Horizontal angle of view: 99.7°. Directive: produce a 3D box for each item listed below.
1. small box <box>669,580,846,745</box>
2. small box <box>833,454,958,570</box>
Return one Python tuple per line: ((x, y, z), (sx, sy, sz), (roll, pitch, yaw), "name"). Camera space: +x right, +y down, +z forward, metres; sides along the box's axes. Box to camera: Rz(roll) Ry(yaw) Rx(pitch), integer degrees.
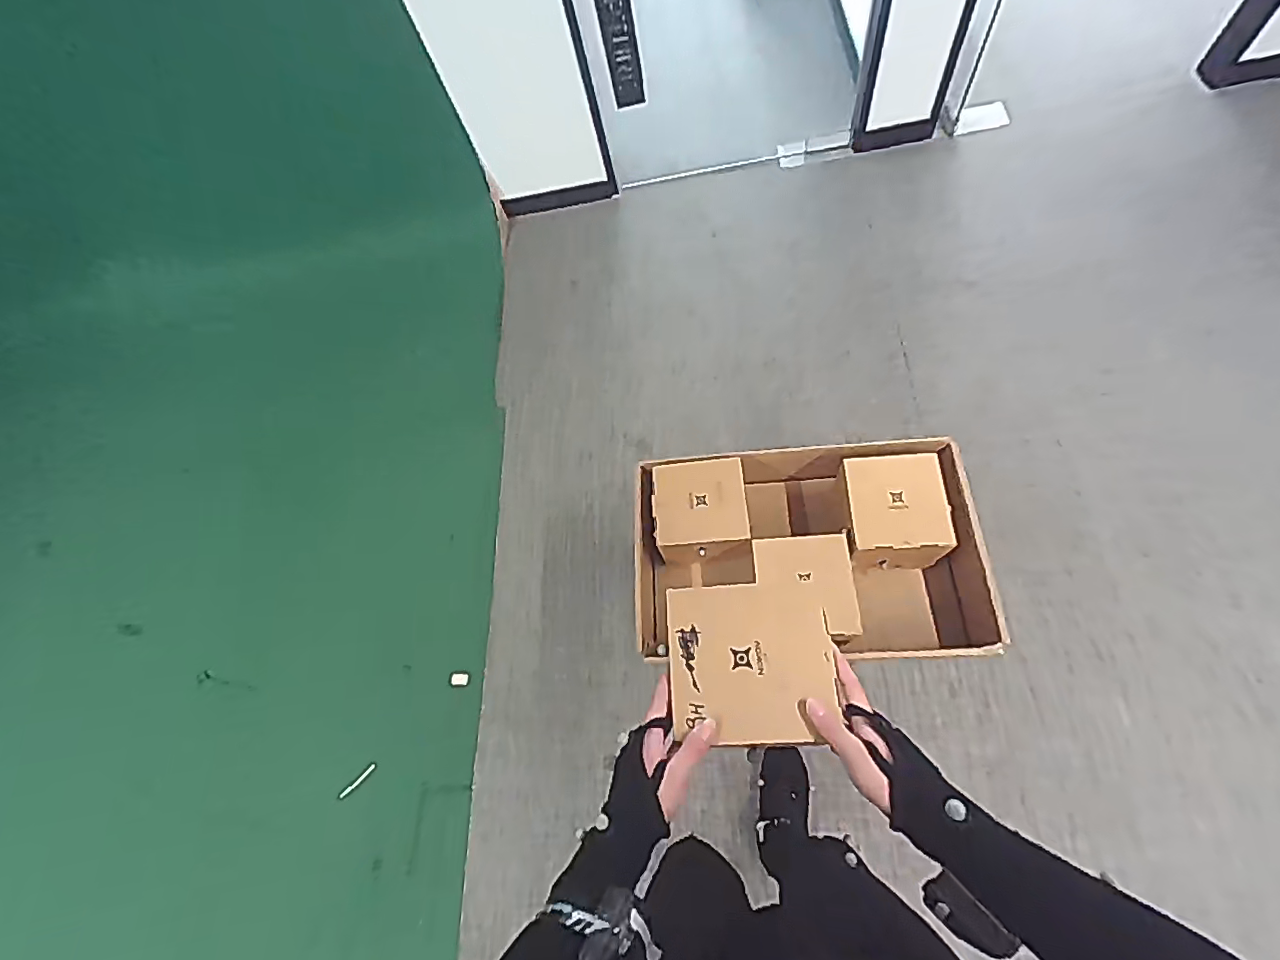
((0.128, 0.224, 0.650), (0.179, 0.176, 0.168), (-4, 62, 6), "small box")
((0.474, 0.066, 1.032), (0.168, 0.176, 0.179), (-3, 68, 9), "small box")
